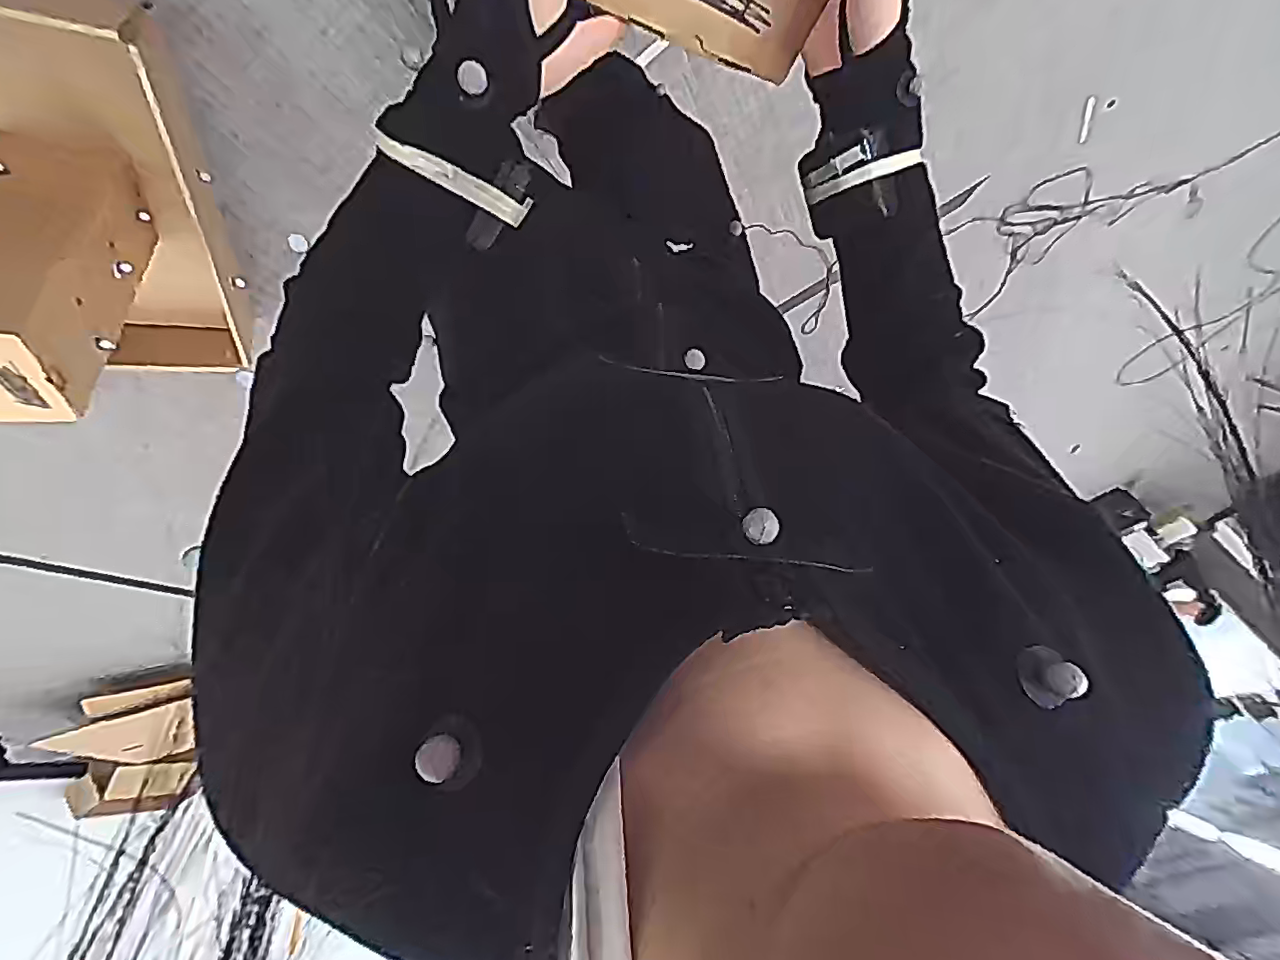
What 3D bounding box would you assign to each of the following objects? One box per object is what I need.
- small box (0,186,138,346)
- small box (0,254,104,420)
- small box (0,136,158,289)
[{"bbox_3d":[-0.937,-0.332,0.840,0.179,0.176,0.168,-3,144,-24],"label":"small box"},{"bbox_3d":[-0.897,-0.201,0.750,0.179,0.176,0.168,-2,143,-22],"label":"small box"},{"bbox_3d":[-0.980,-0.459,0.931,0.179,0.176,0.168,-1,143,-25],"label":"small box"}]
